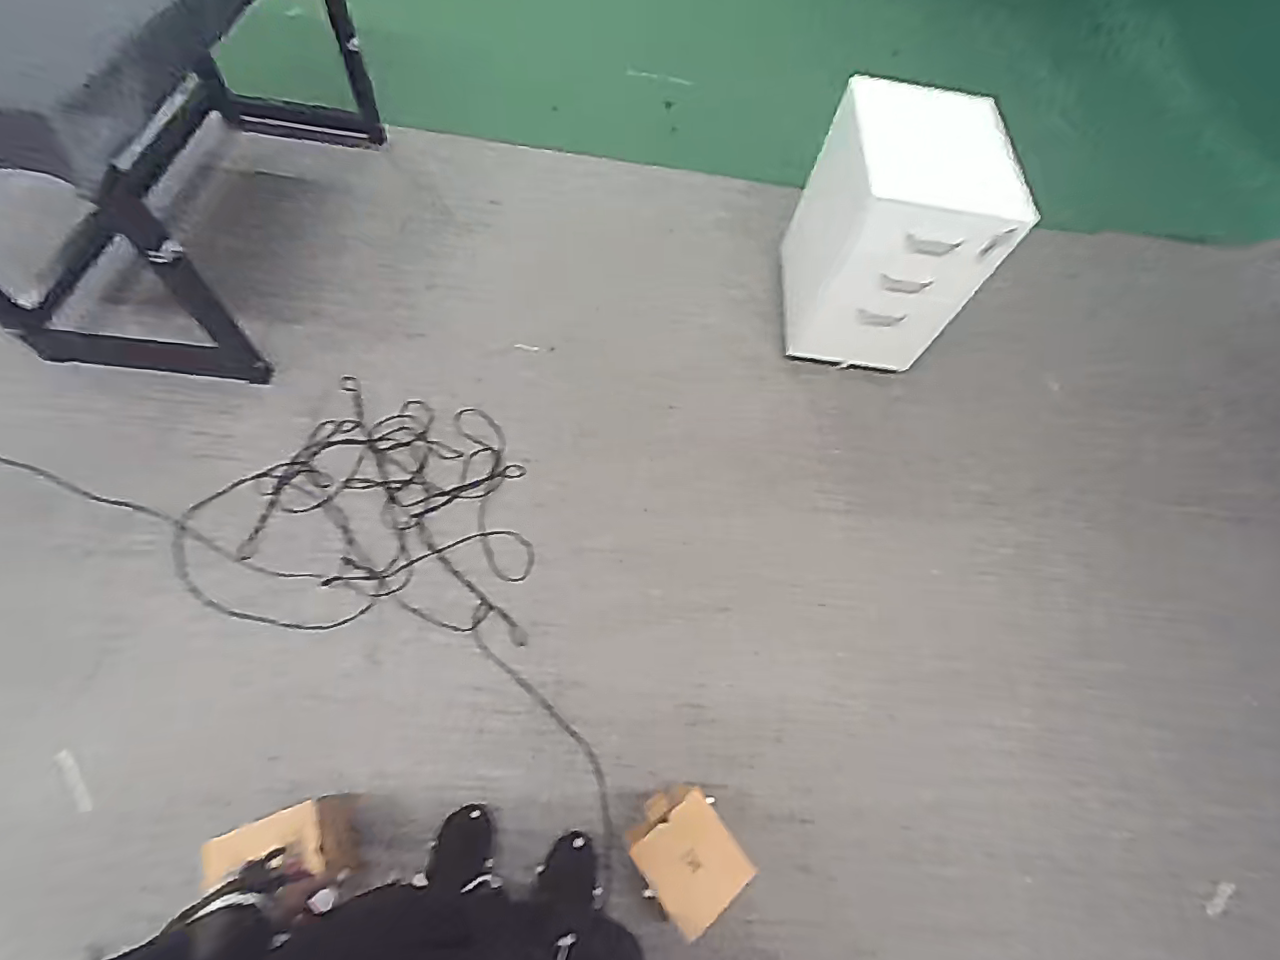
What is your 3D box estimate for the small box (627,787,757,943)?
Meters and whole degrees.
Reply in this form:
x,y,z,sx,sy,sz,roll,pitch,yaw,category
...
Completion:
x,y,z,sx,sy,sz,roll,pitch,yaw,category
0.091,0.725,1.046,0.168,0.176,0.179,-32,71,-21,small box
